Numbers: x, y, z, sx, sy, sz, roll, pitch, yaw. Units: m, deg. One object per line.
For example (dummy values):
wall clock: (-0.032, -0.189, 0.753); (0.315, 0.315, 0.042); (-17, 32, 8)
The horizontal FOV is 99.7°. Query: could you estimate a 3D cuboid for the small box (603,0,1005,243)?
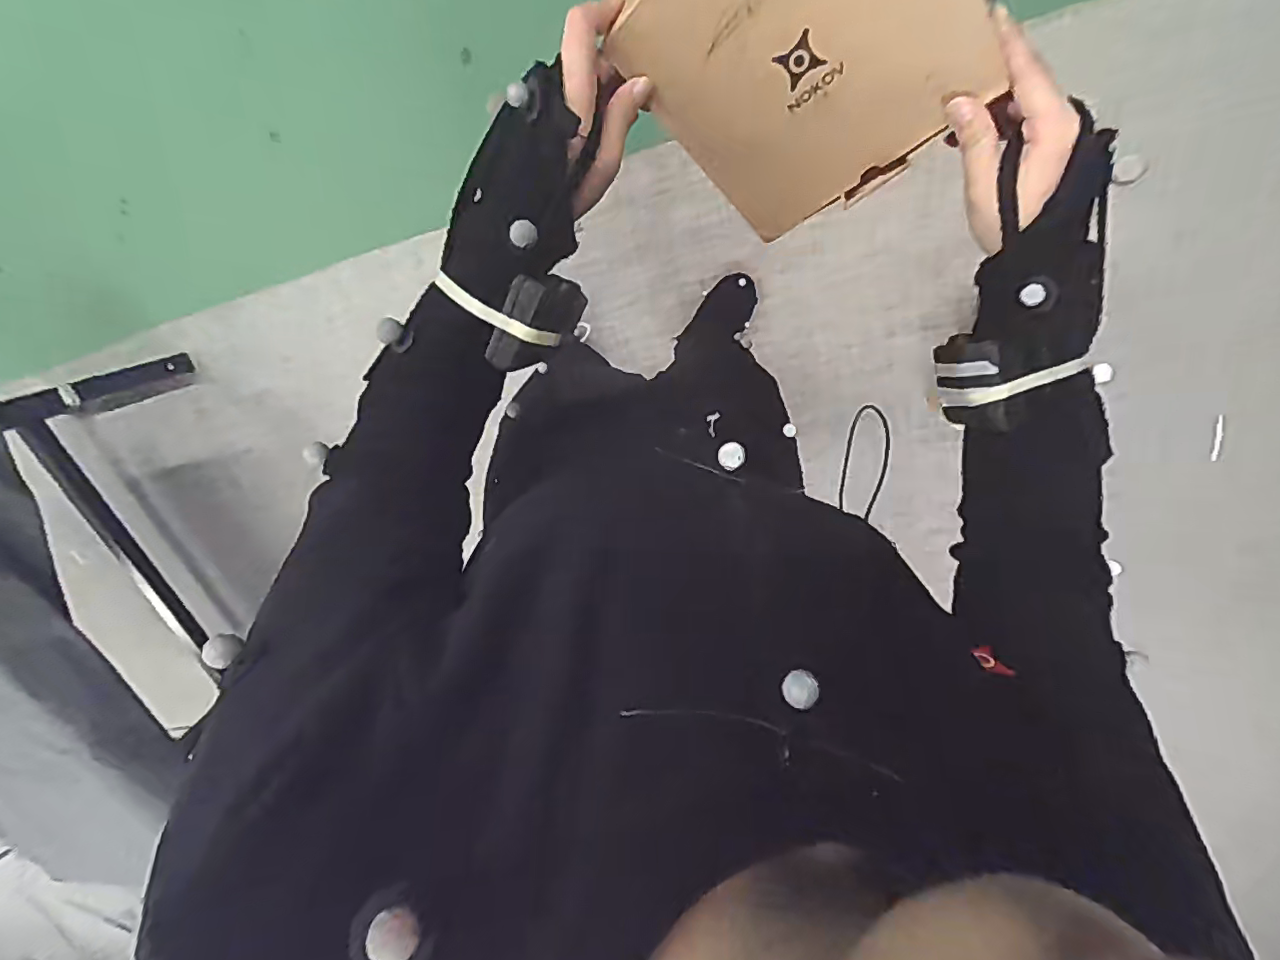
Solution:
small box: (0.105, -0.306, 0.351); (0.179, 0.176, 0.168); (32, 144, -33)
